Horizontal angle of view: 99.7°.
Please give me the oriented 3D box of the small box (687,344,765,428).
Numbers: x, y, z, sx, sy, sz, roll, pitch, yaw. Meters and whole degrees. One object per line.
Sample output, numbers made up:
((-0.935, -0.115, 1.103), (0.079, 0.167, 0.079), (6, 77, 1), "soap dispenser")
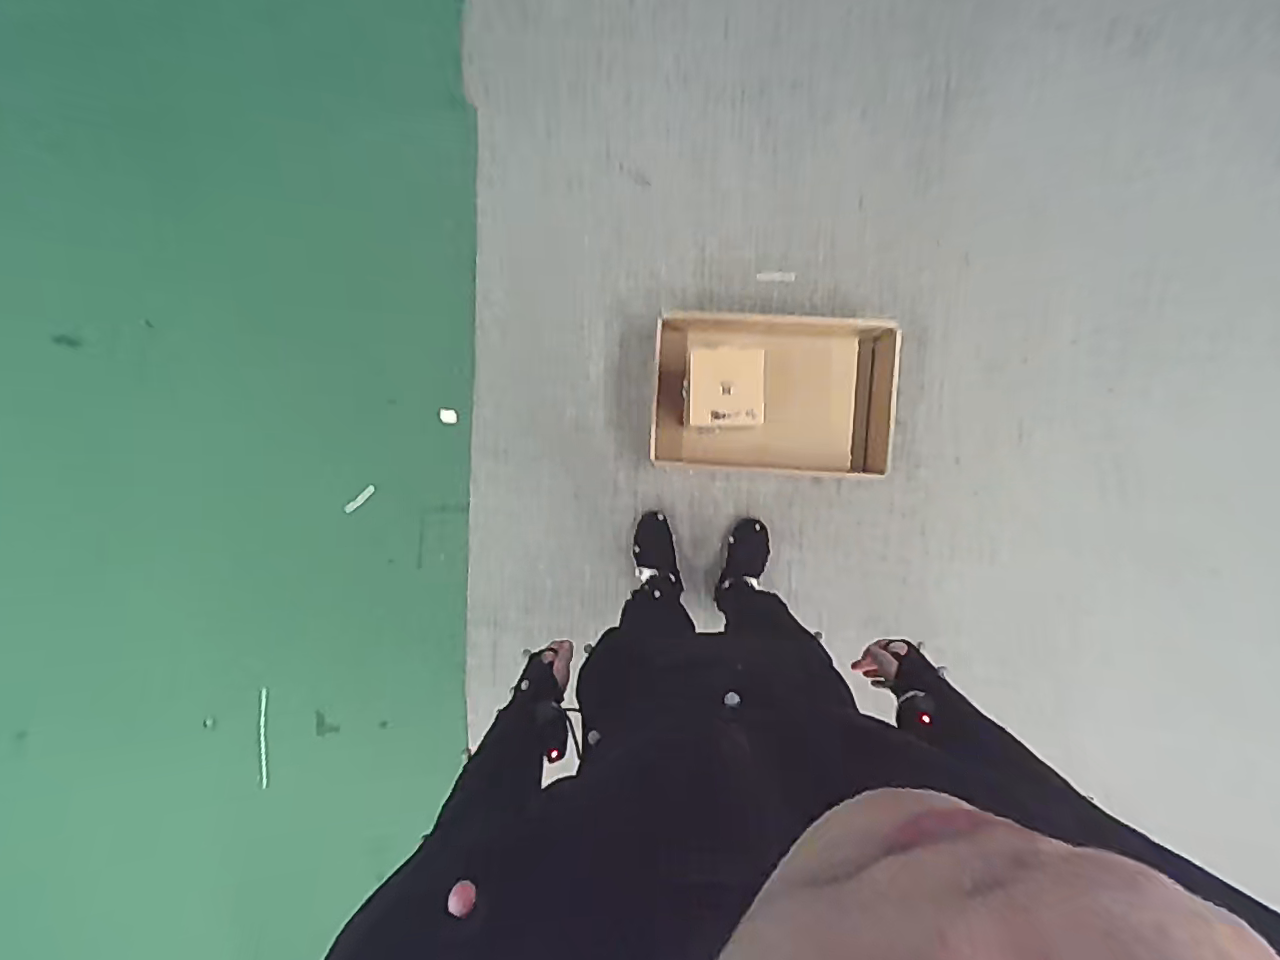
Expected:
((0.197, -0.217, 1.279), (0.168, 0.176, 0.179), (1, 92, 3), "small box")
